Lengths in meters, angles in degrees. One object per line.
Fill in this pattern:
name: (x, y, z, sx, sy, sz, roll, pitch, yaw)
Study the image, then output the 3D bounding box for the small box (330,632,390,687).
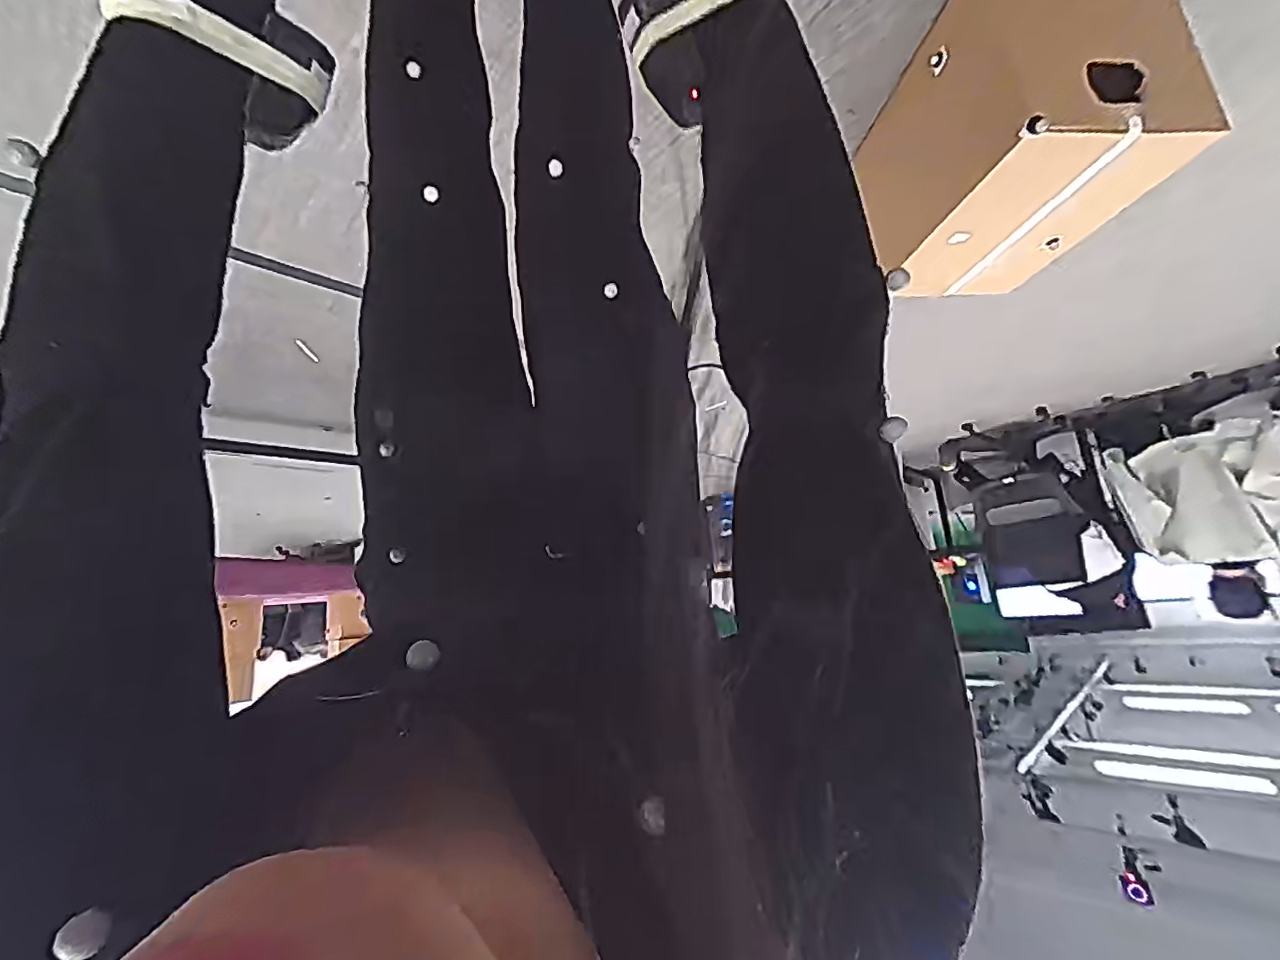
small box: (-1.032, 0.652, 1.986, 0.168, 0.176, 0.179, 5, 164, -39)

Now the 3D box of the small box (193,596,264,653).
small box: (-1.361, 0.475, 1.790, 0.168, 0.176, 0.179, 7, 163, -44)

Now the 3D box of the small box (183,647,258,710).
small box: (-1.357, 0.633, 1.751, 0.179, 0.176, 0.168, -15, 163, 42)

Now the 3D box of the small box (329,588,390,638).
small box: (-1.059, 0.498, 2.037, 0.168, 0.176, 0.179, 7, 164, -44)
